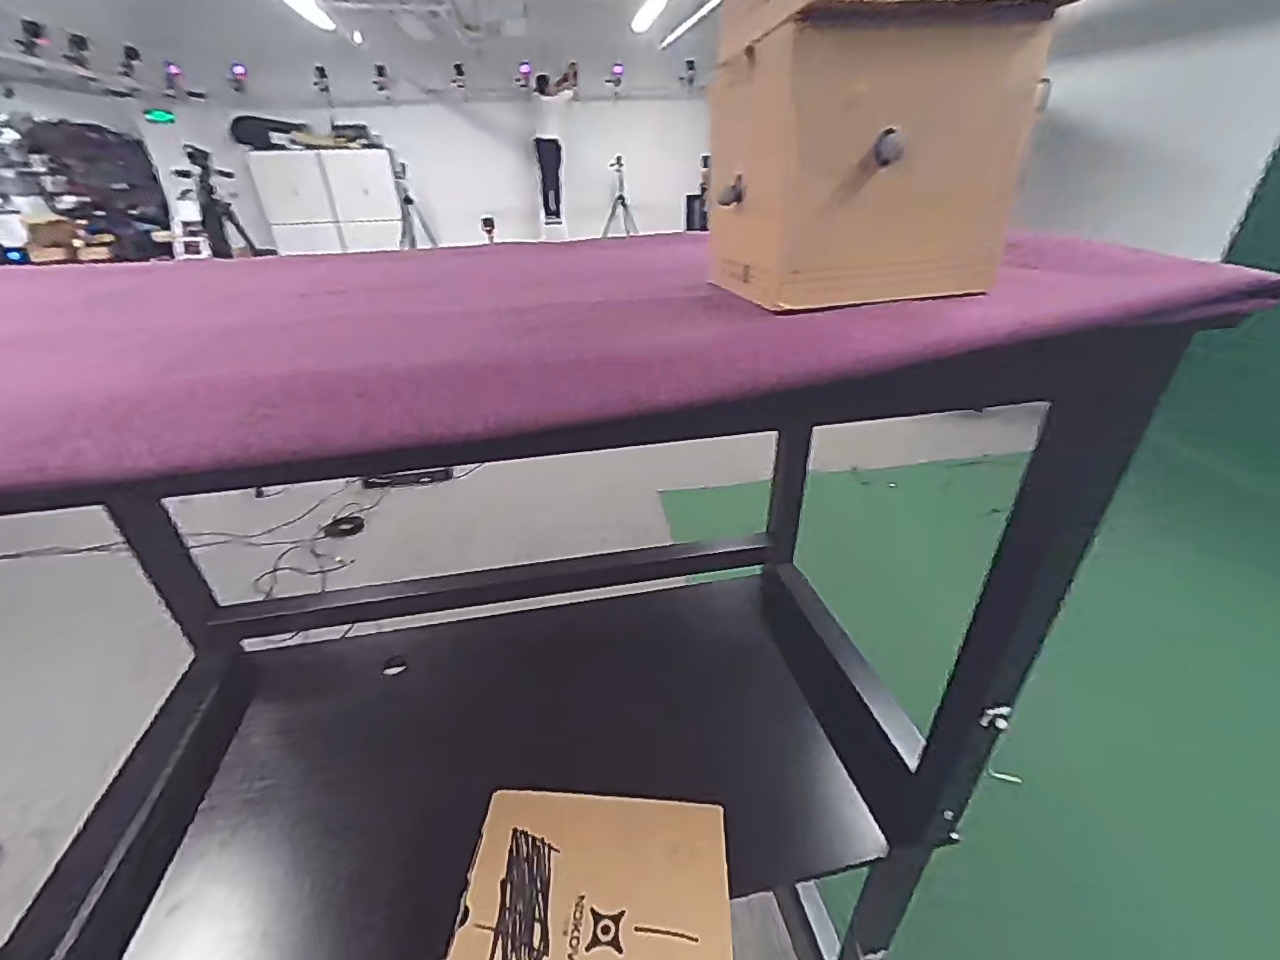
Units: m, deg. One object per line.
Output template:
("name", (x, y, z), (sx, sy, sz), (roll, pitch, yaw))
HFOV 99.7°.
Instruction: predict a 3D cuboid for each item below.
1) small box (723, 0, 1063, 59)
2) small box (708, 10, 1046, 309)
("small box", (0.155, -0.375, 0.339), (0.179, 0.176, 0.168), (-8, 28, -8))
("small box", (0.160, -0.238, 0.428), (0.179, 0.176, 0.168), (-8, 29, -7))
